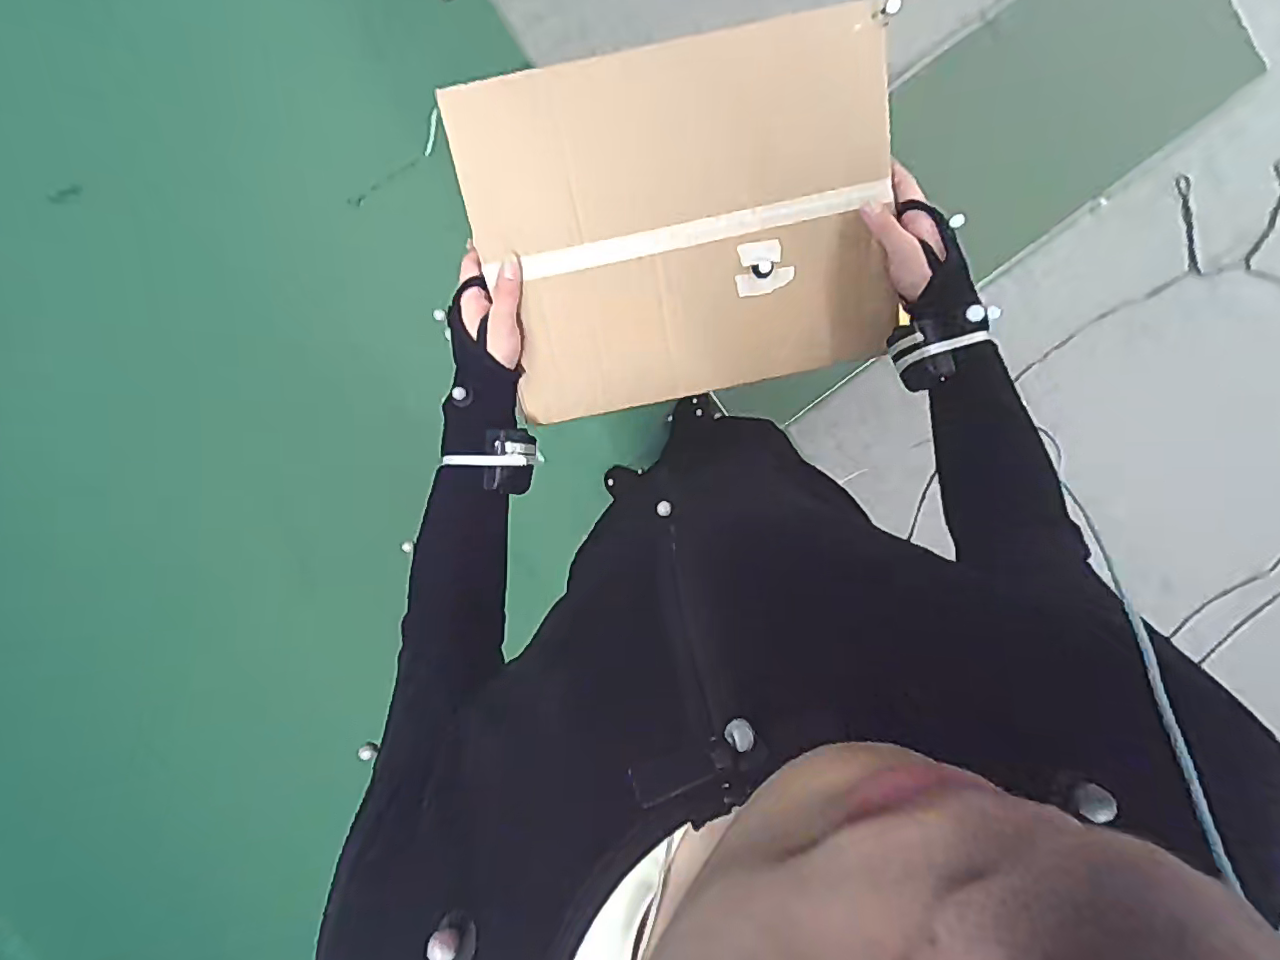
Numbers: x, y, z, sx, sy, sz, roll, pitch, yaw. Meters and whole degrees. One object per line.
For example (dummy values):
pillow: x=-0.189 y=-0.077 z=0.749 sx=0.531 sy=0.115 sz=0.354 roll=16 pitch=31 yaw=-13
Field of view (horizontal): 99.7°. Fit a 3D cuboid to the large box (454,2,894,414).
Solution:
large box: x=0.040 y=-0.295 z=0.678 sx=0.408 sy=0.320 sz=0.320 roll=-11 pitch=109 yaw=-1
